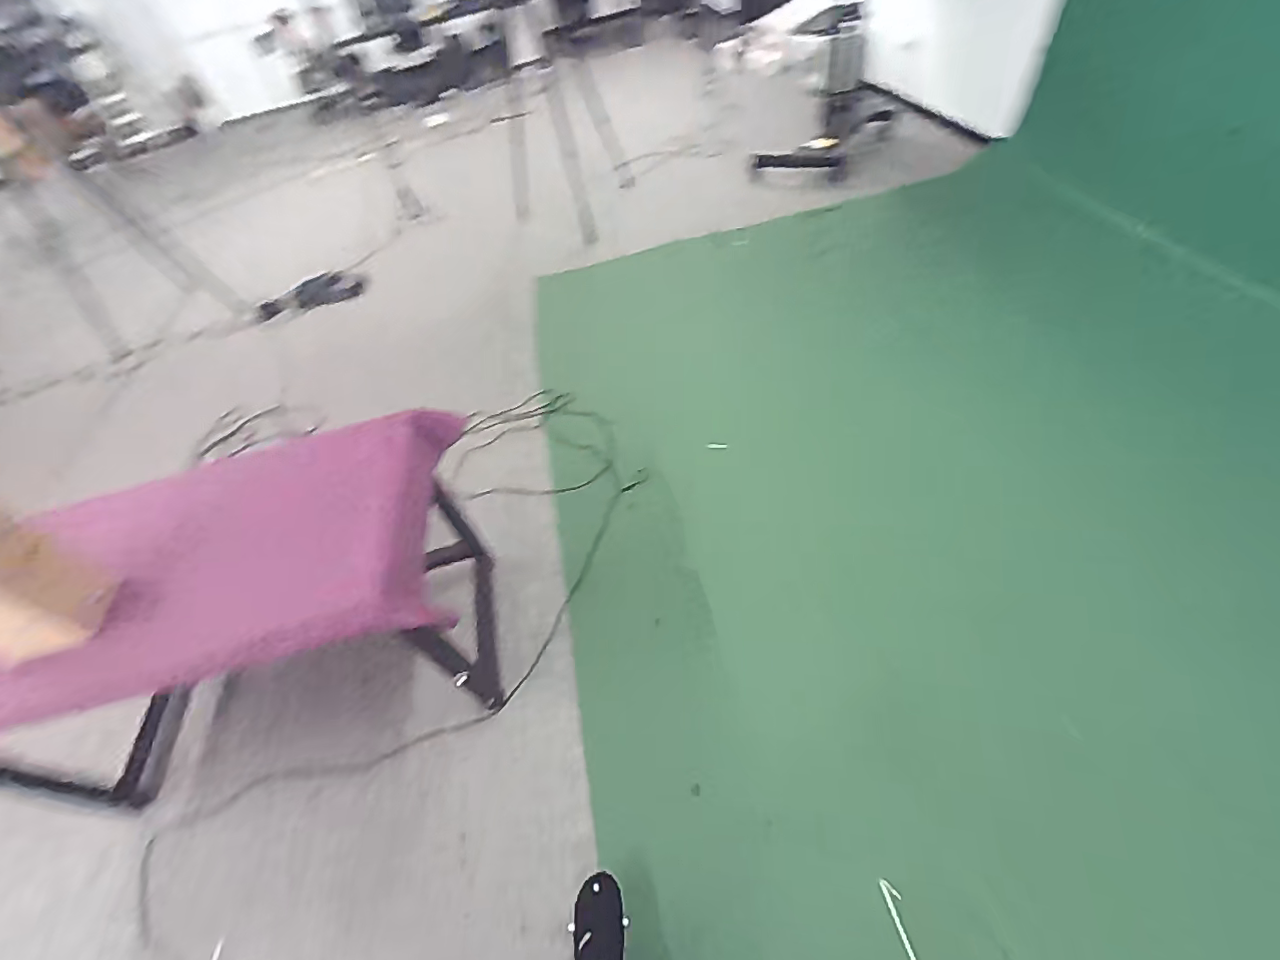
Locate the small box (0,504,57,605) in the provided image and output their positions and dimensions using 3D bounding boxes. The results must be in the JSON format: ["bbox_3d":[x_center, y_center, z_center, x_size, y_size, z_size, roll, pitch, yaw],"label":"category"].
[{"bbox_3d":[-1.302,0.145,1.031,0.179,0.176,0.168,-15,47,-1],"label":"small box"}]
